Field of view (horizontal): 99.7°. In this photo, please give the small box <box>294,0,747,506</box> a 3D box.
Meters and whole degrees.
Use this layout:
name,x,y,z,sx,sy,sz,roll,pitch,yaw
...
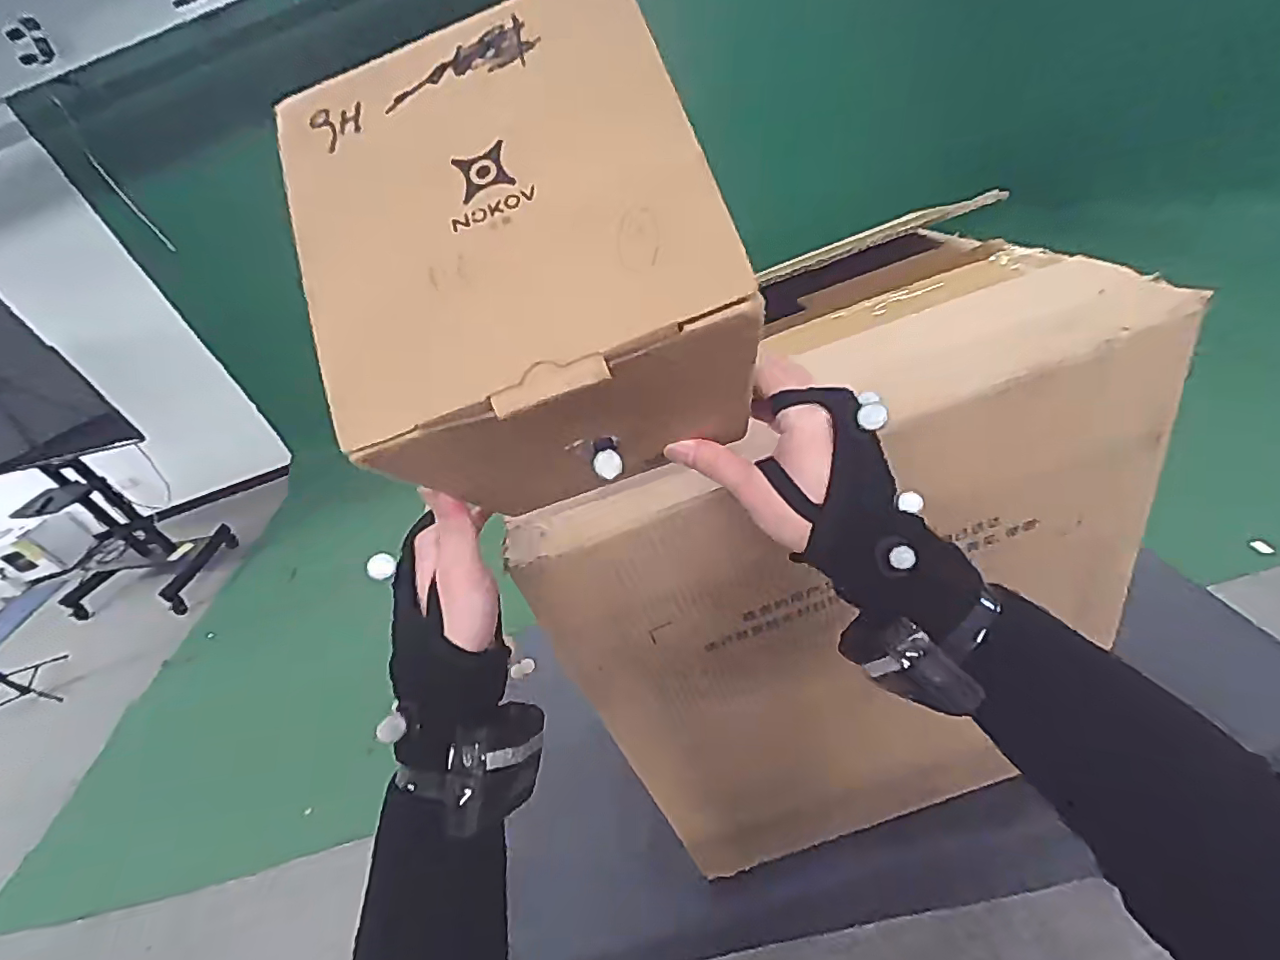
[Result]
name,x,y,z,sx,sy,sz,roll,pitch,yaw
small box,-0.047,-0.092,0.302,0.168,0.176,0.179,-19,76,4
